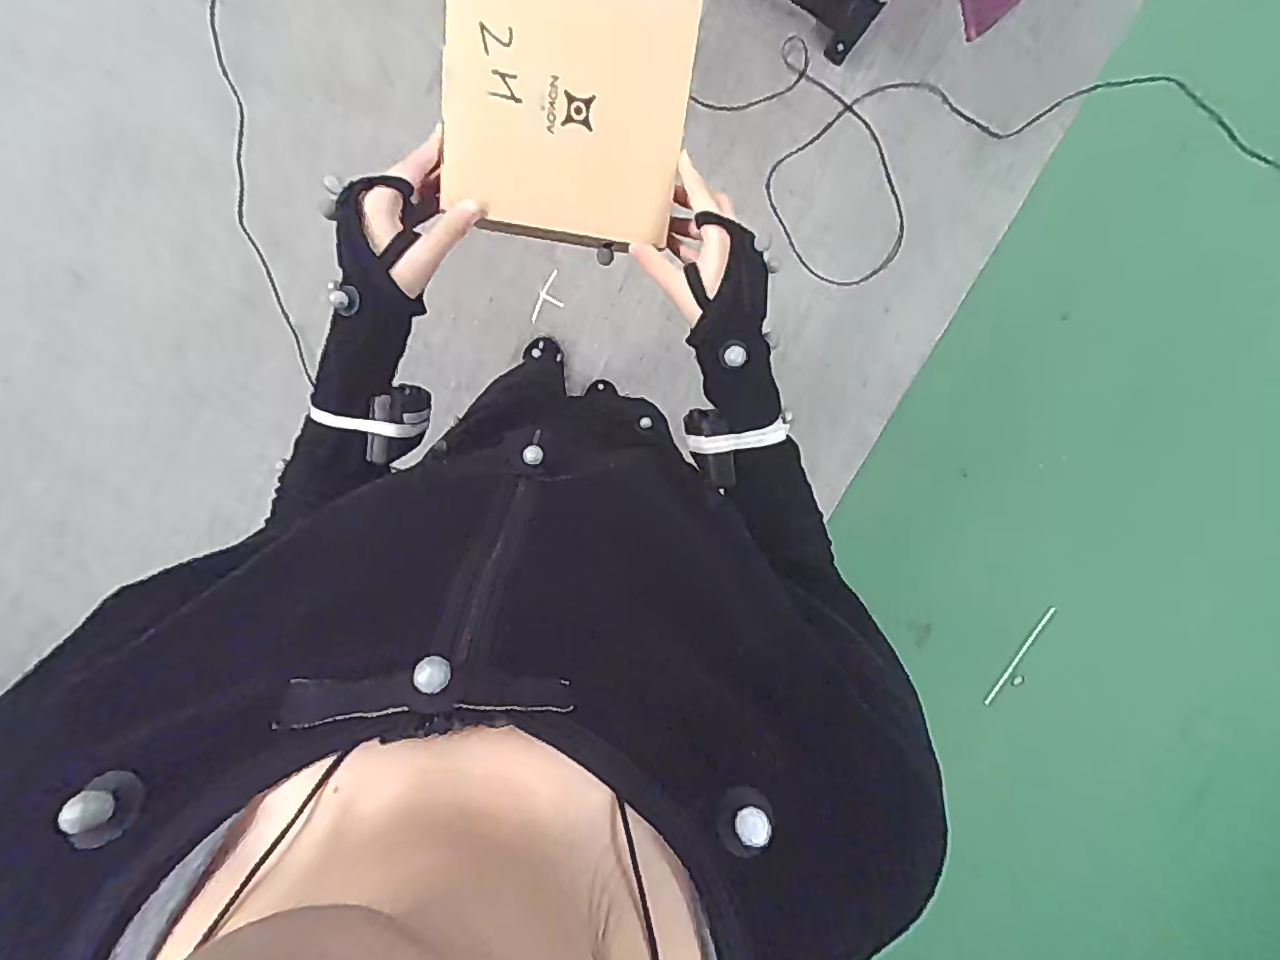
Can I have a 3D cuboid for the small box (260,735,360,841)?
[{"bbox_3d":[-0.956,0.896,1.584,0.168,0.176,0.179,27,98,-8],"label":"small box"}]
